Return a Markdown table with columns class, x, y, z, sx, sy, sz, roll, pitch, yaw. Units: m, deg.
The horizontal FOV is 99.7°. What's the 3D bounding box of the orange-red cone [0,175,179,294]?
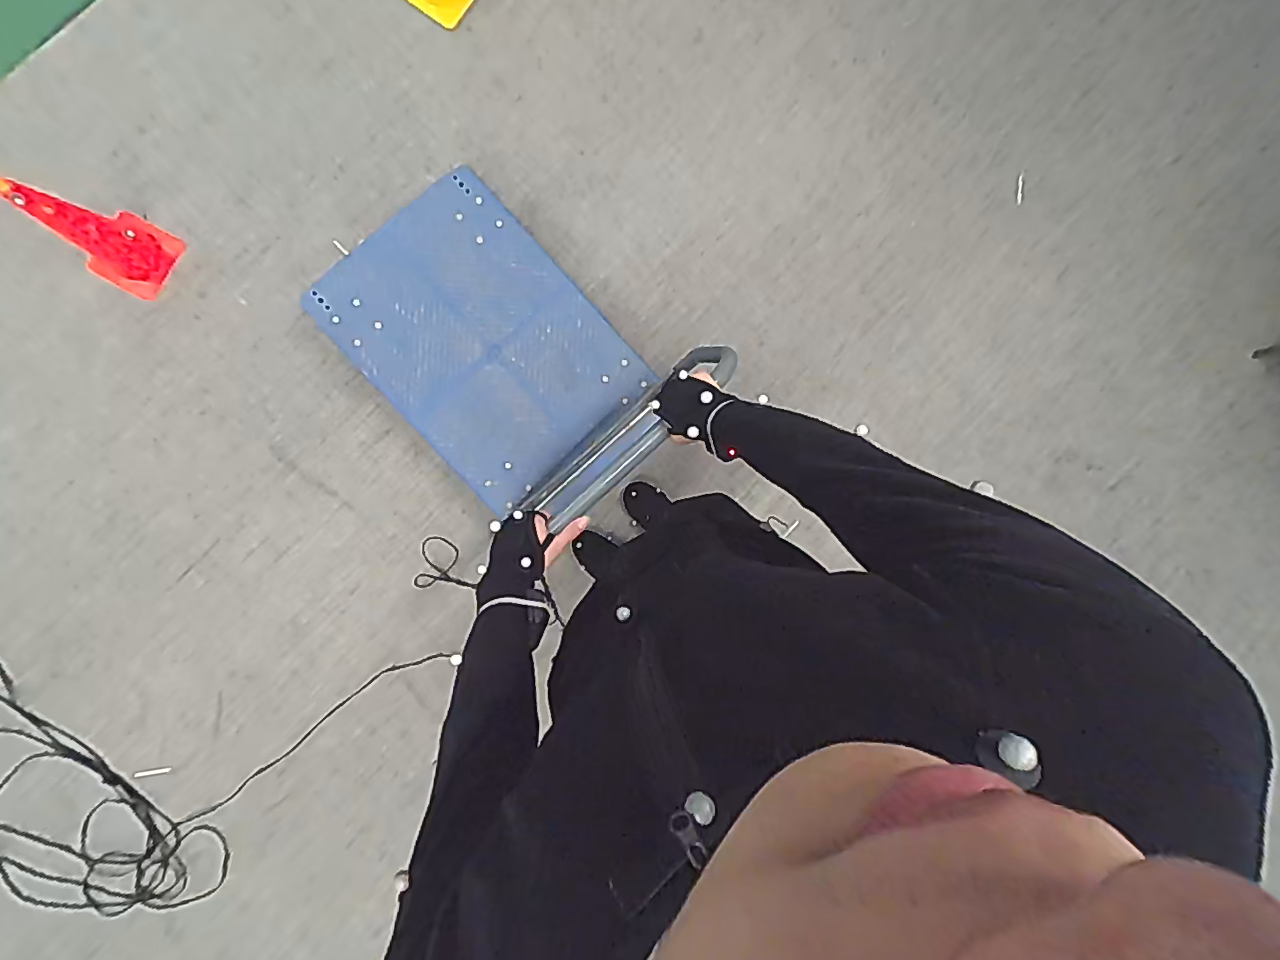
| class | x | y | z | sx | sy | sz | roll | pitch | yaw |
| --- | --- | --- | --- | --- | --- | --- | --- | --- | --- |
| orange-red cone | -1.412 | -0.644 | 1.347 | 0.198 | 0.360 | 0.199 | 30 | 88 | -3 |
